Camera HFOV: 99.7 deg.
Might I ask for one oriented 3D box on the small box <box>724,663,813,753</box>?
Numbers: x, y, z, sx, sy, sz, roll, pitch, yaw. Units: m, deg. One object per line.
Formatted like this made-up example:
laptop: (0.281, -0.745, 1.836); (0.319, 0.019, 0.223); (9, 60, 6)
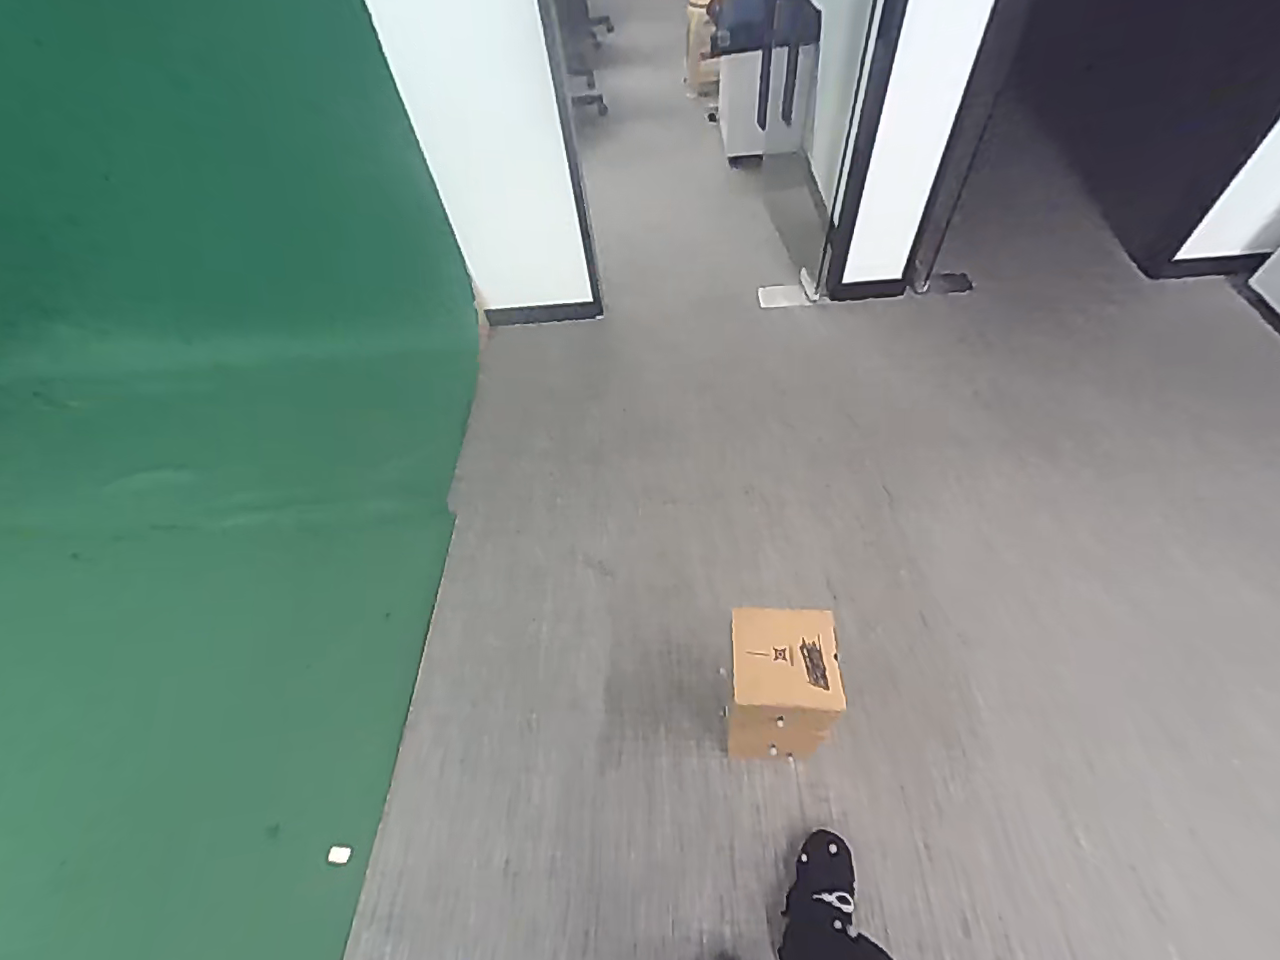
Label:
small box: (0.286, 0.522, 1.239); (0.179, 0.176, 0.168); (-2, 54, 7)

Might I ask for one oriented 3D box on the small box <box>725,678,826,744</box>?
small box: (0.269, 0.432, 1.103); (0.179, 0.176, 0.168); (3, 55, 8)

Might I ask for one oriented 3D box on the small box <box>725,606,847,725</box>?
small box: (0.250, 0.335, 0.971); (0.179, 0.176, 0.168); (-1, 55, 4)
